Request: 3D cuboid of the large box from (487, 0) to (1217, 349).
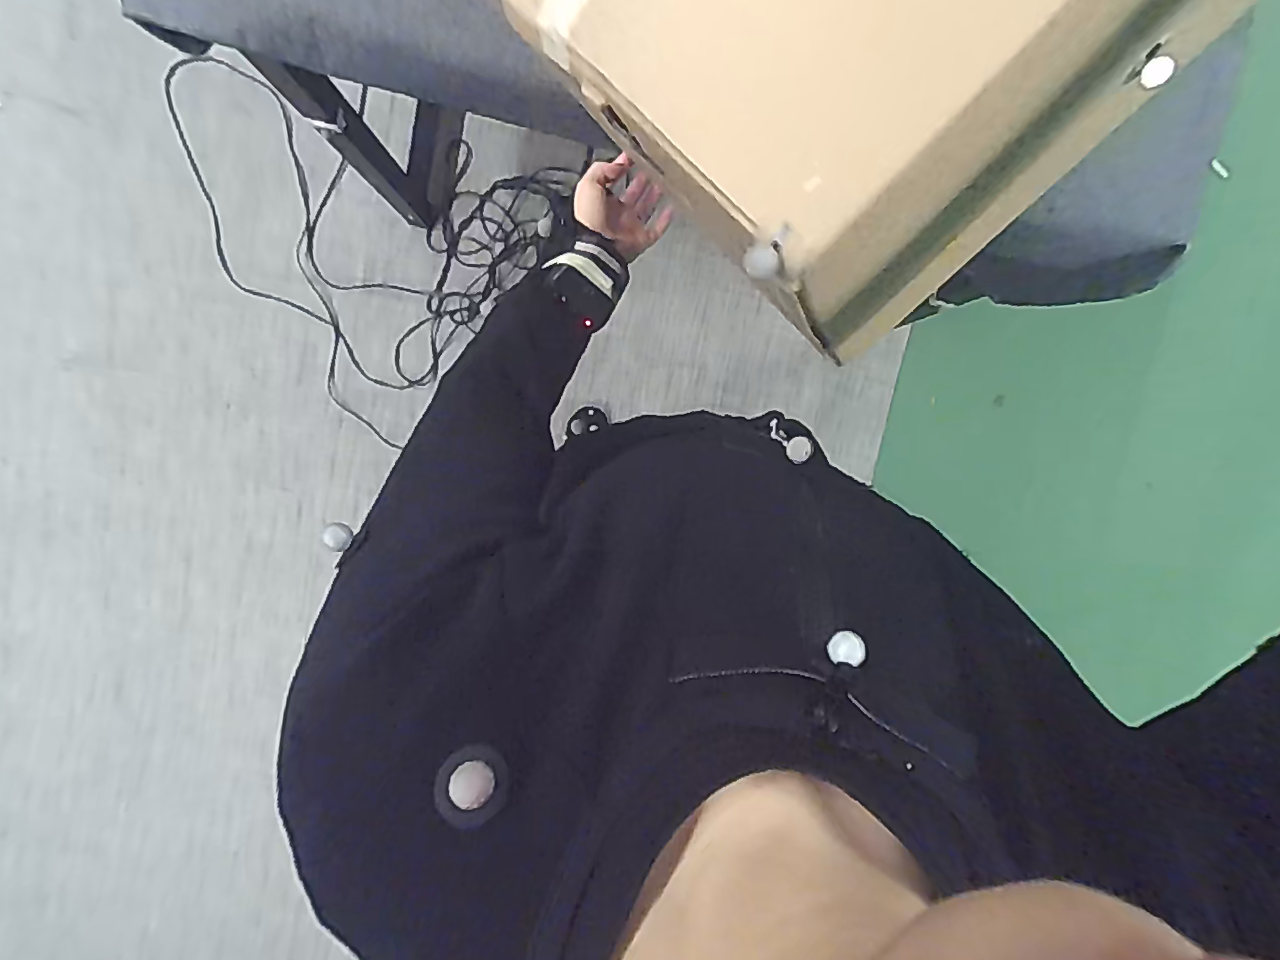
[{"bbox_3d":[0.166,-0.343,0.321,0.408,0.320,0.320,-46,76,22],"label":"large box"}]
